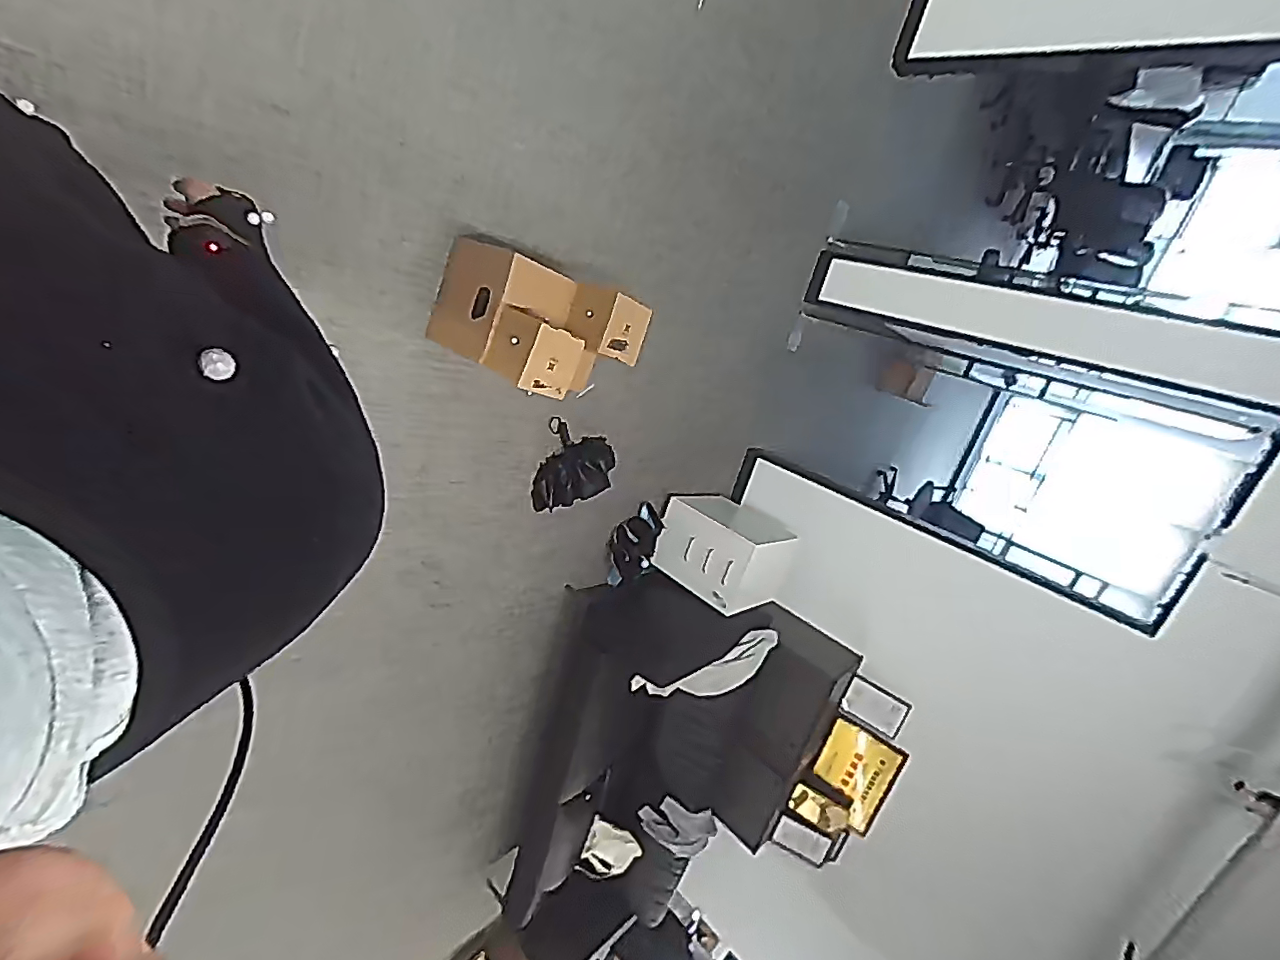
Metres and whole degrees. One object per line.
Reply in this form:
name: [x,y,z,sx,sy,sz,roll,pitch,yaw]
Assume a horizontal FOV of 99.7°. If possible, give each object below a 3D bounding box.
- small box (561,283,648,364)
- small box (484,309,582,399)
small box: [-0.110,-0.463,1.598,0.168,0.176,0.179,8,104,-54]
small box: [-0.291,-0.340,1.452,0.168,0.176,0.179,7,108,-54]
